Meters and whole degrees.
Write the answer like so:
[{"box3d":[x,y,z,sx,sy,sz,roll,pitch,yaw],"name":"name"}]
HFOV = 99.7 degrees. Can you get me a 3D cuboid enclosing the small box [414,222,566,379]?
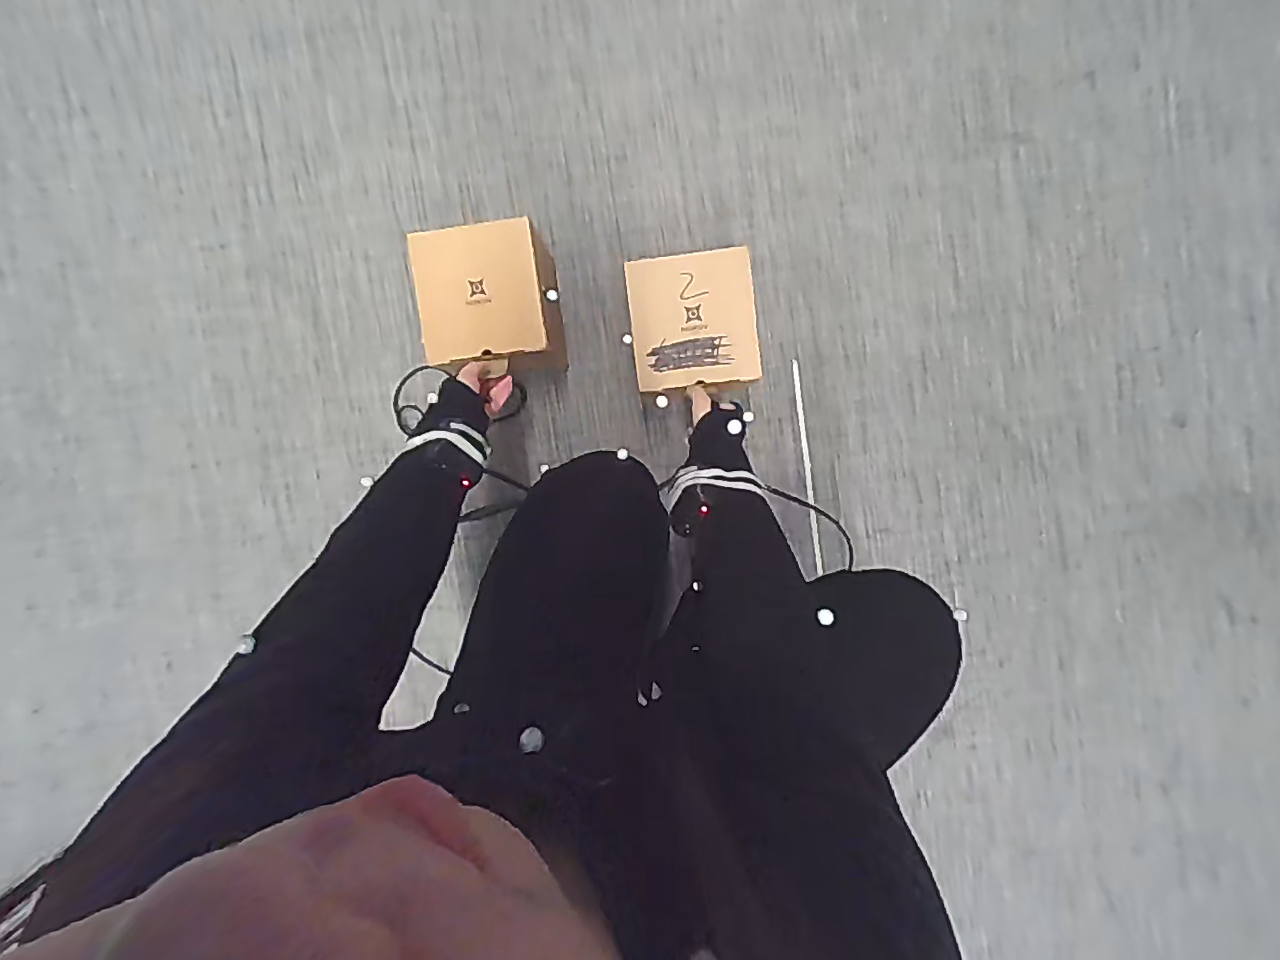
[{"box3d":[-0.211,-0.254,0.804,0.168,0.176,0.179,-7,94,2],"name":"small box"}]
